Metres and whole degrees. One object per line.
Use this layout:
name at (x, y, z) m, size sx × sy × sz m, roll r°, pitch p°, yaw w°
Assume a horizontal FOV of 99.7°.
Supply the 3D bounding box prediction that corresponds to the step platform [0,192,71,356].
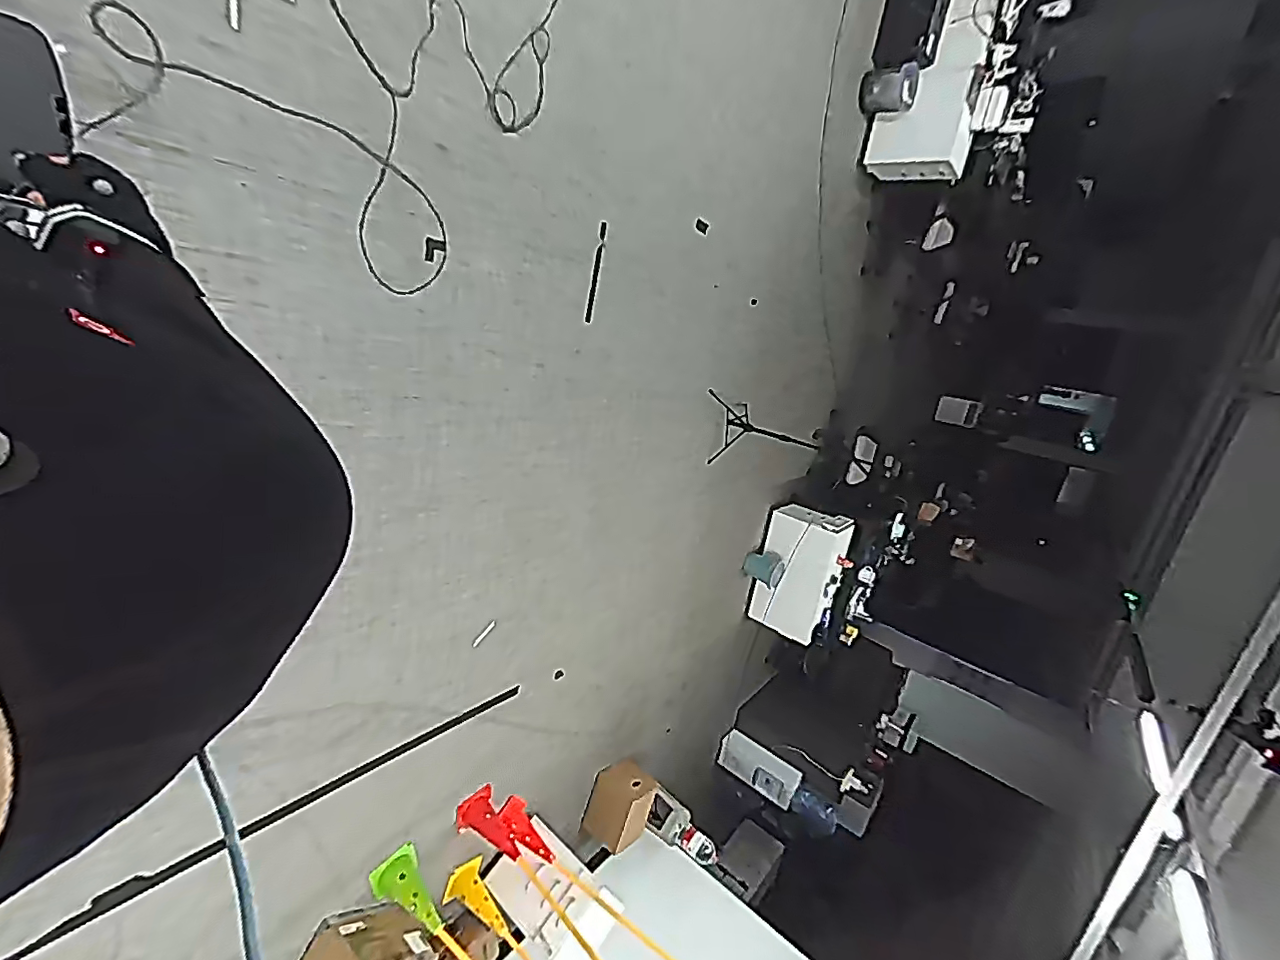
step platform at (-1.347, -0.348, 0.808) m, size 0.684 × 0.204 × 0.286 m, roll -11°, pitch 117°, yaw -49°
